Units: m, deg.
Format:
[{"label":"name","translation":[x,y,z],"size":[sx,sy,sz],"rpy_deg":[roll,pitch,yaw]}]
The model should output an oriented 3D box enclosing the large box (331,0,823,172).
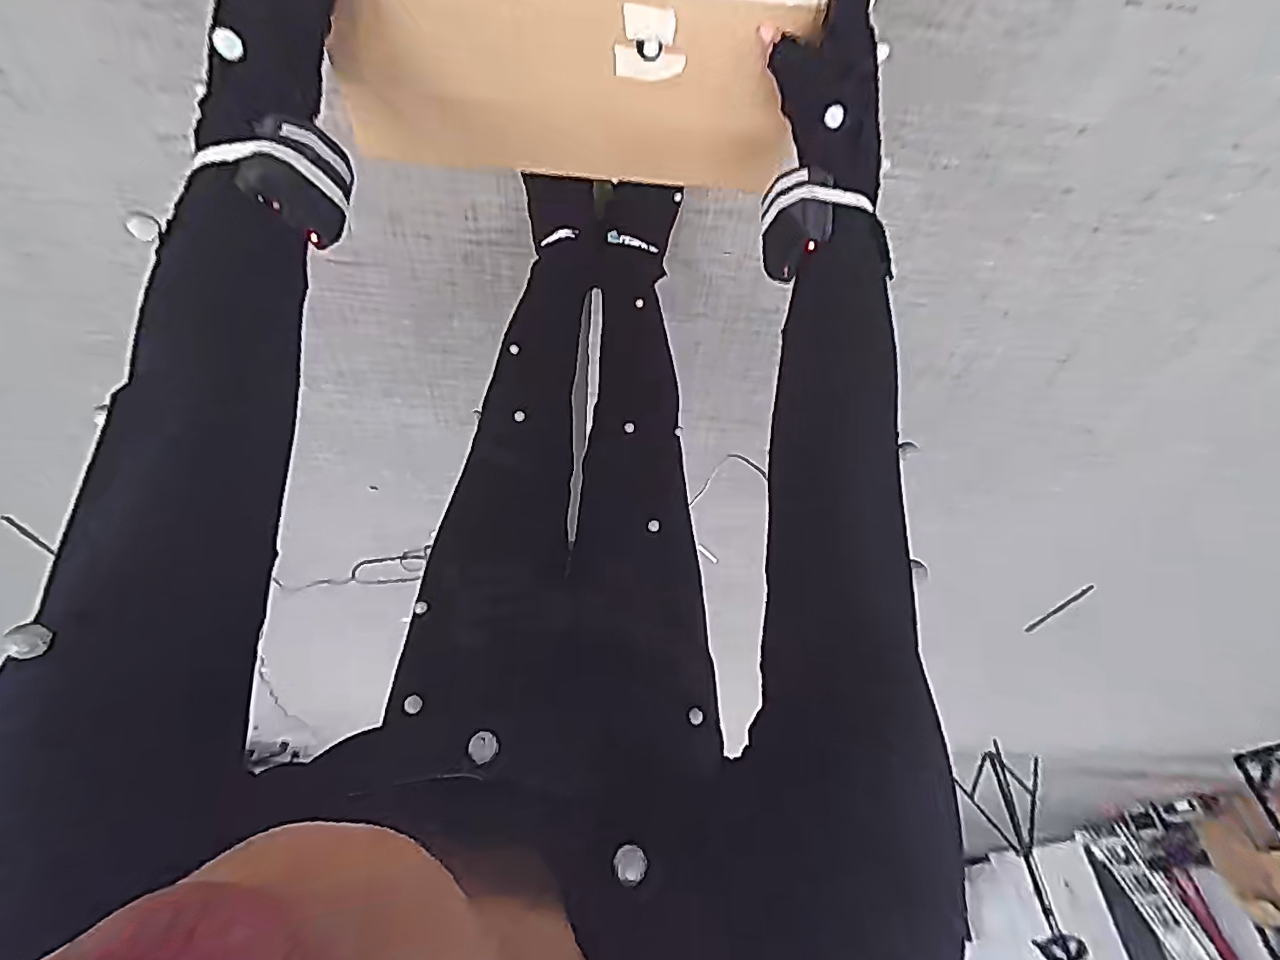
[{"label":"large box","translation":[-0.050,-0.525,0.498],"size":[0.408,0.320,0.320],"rpy_deg":[2,145,-4]}]
